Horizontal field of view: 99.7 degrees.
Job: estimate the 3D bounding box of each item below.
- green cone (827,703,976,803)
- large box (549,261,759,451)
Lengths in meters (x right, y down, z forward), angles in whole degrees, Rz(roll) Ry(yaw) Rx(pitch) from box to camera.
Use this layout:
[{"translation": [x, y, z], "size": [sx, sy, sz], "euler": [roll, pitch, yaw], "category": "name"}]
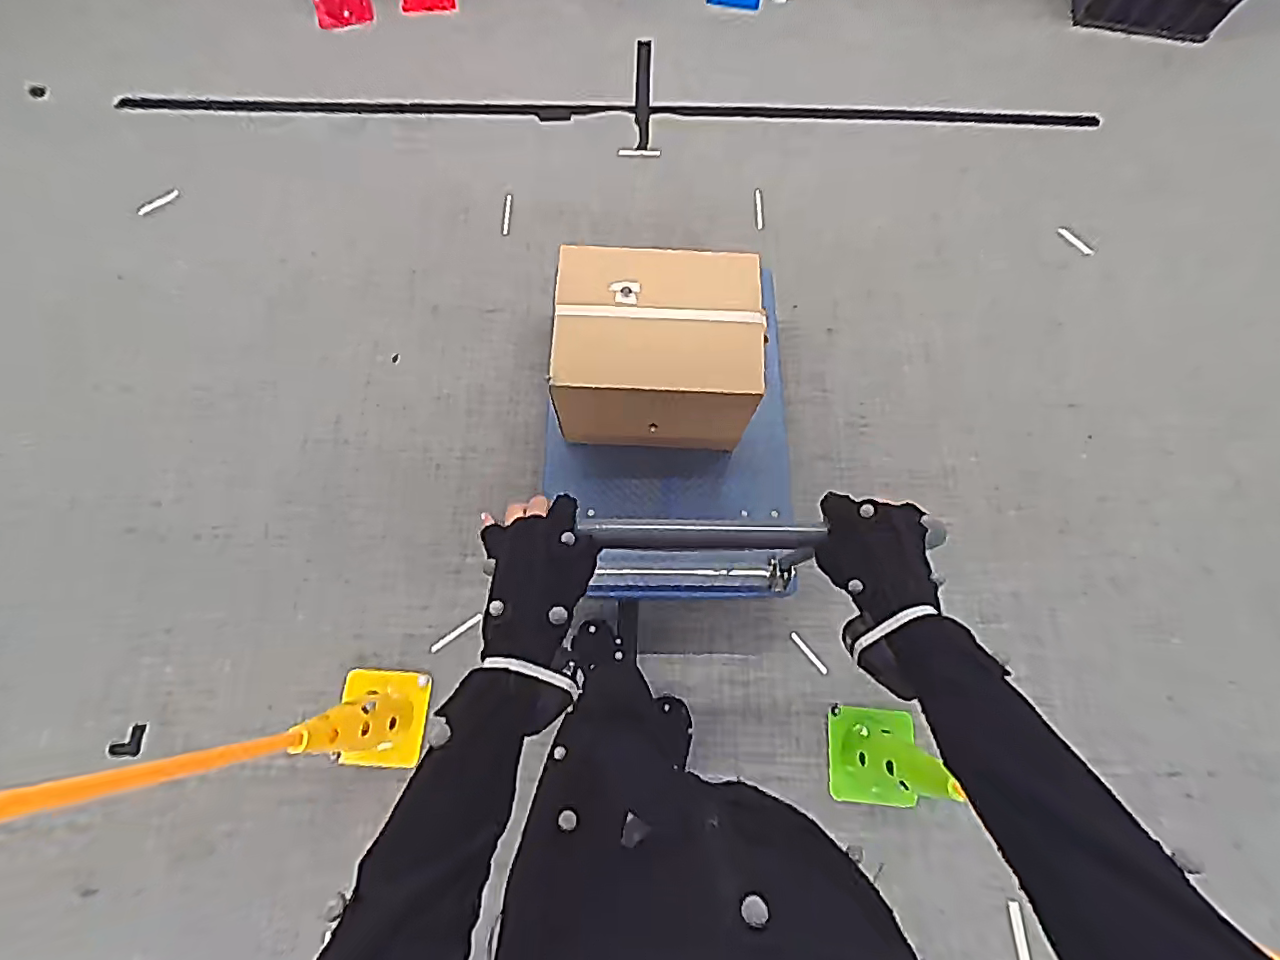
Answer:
[{"translation": [0.543, 0.580, 1.093], "size": [0.202, 0.368, 0.200], "euler": [5, 72, -1], "category": "green cone"}, {"translation": [0.029, -0.256, 1.202], "size": [0.408, 0.320, 0.320], "euler": [2, 73, 0], "category": "large box"}]
